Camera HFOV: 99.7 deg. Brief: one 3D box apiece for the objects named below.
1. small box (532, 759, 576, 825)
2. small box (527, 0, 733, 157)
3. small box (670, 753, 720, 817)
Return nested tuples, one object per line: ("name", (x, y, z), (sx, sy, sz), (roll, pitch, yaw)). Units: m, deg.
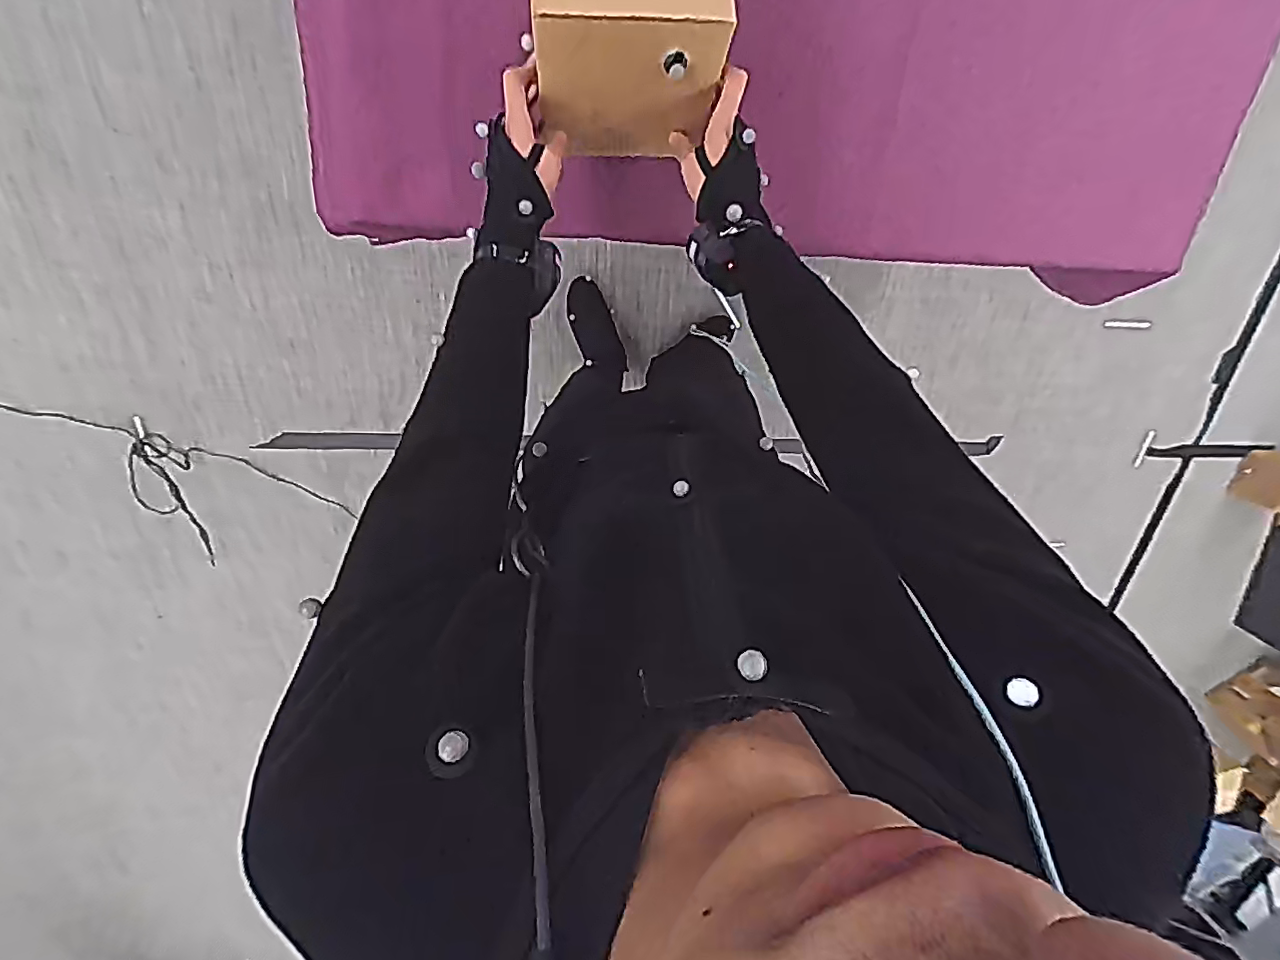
("small box", (-0.343, 1.239, 2.159), (0.168, 0.176, 0.179), (3, 116, -8))
("small box", (-0.019, -0.451, 0.537), (0.179, 0.176, 0.168), (-3, 85, -6))
("small box", (0.223, 1.263, 2.250), (0.168, 0.176, 0.179), (0, 116, -9))
